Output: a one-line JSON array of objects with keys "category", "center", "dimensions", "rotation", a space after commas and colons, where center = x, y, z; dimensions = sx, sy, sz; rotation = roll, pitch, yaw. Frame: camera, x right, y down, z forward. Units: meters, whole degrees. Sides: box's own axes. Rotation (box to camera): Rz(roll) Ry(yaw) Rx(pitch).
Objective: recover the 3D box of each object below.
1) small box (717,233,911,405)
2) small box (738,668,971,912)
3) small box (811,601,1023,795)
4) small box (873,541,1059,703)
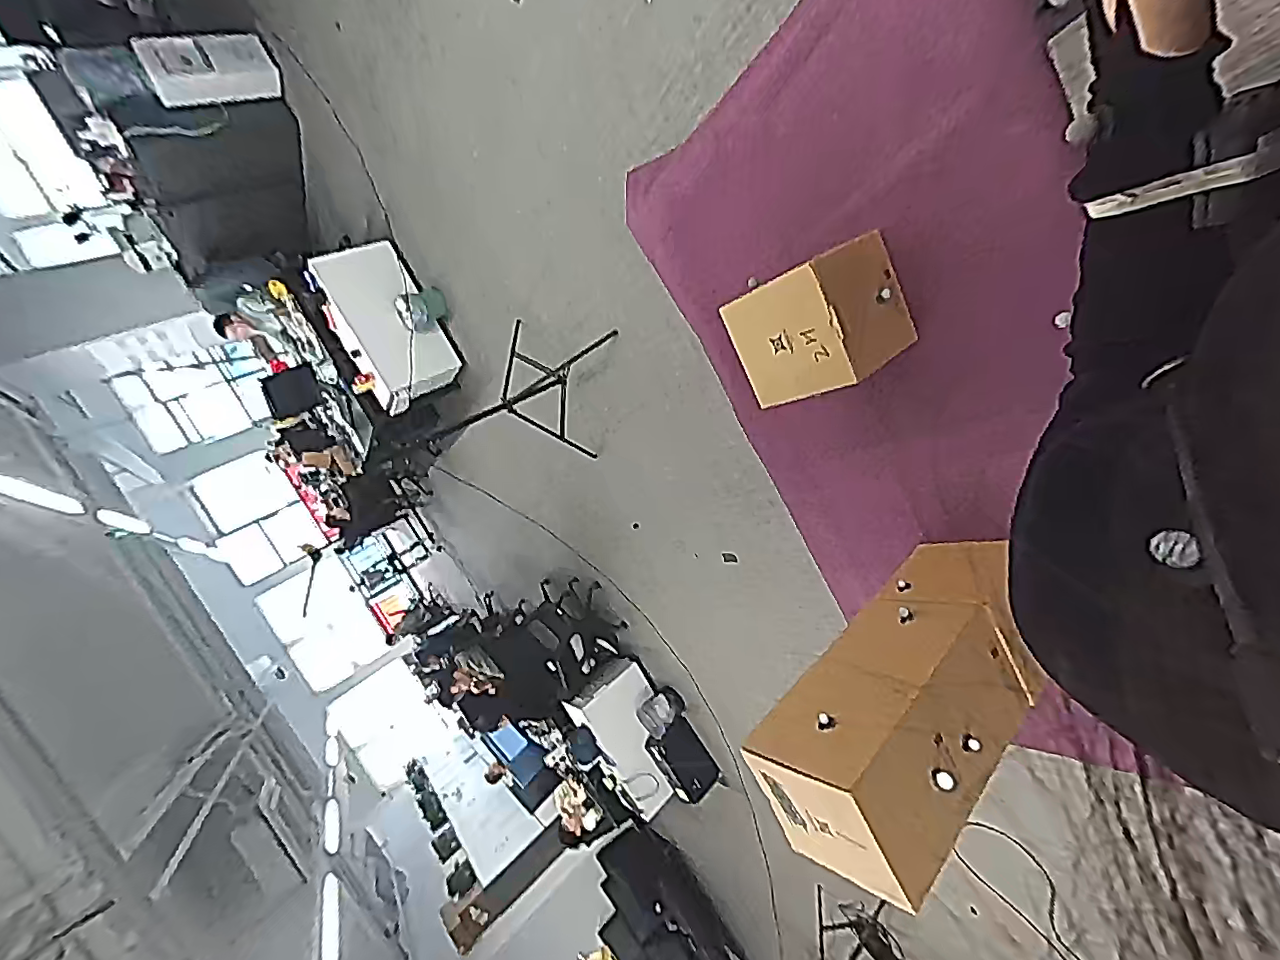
[{"category": "small box", "center": [0.252, -0.228, 0.786], "dimensions": [0.179, 0.176, 0.168], "rotation": [-9, 112, 57]}, {"category": "small box", "center": [0.261, 0.356, 0.666], "dimensions": [0.179, 0.176, 0.168], "rotation": [-17, 104, 58]}, {"category": "small box", "center": [0.382, 0.283, 0.752], "dimensions": [0.168, 0.176, 0.179], "rotation": [61, 150, -7]}, {"category": "small box", "center": [0.504, 0.205, 0.829], "dimensions": [0.179, 0.176, 0.168], "rotation": [-17, 104, 59]}]
